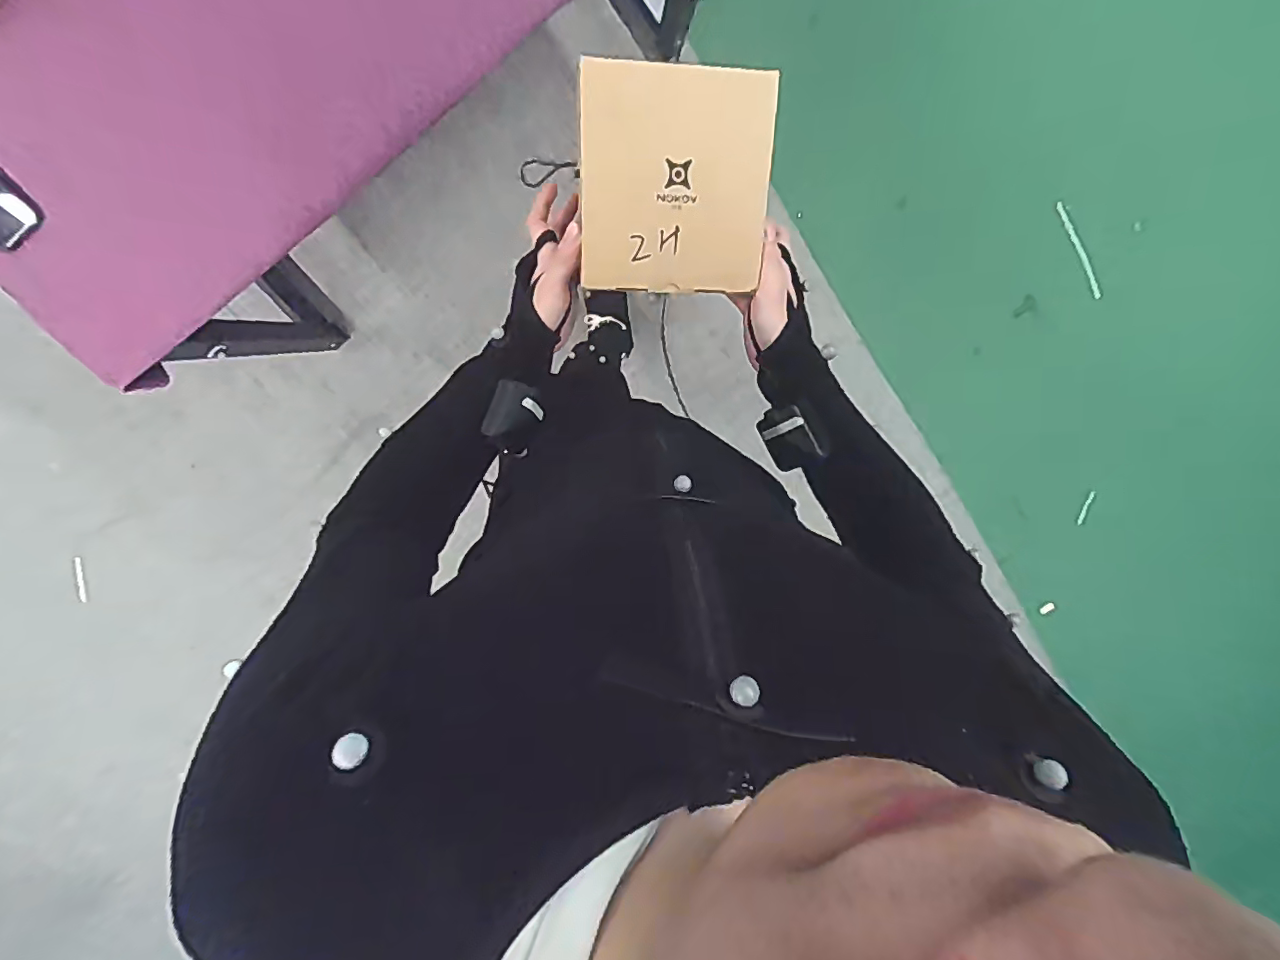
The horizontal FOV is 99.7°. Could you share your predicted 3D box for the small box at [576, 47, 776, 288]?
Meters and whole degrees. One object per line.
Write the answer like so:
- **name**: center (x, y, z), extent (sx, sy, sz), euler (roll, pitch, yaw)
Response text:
- **small box**: center (0.020, -0.287, 0.536), extent (0.168, 0.176, 0.179), euler (0, 111, -6)
